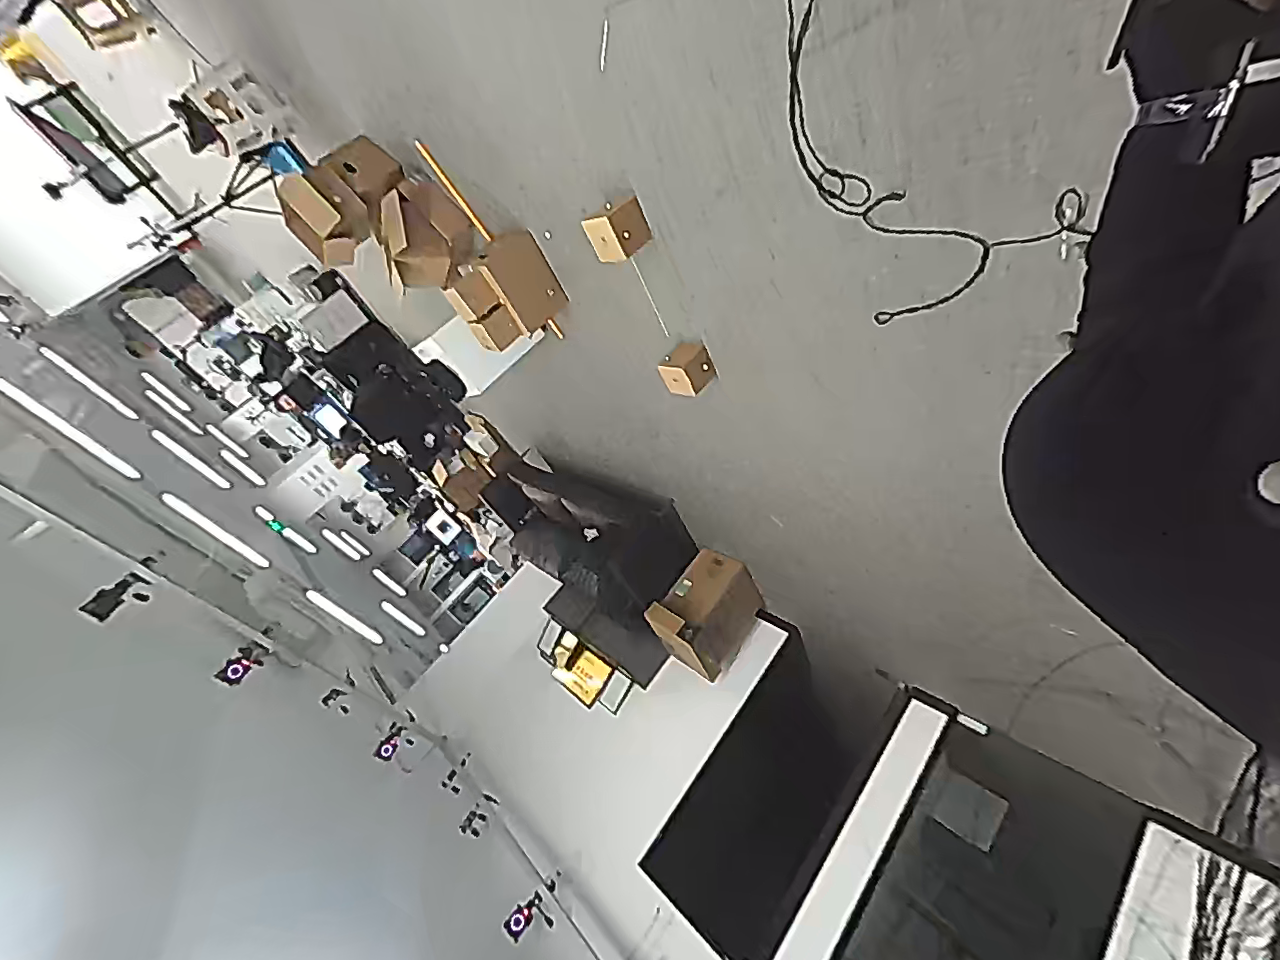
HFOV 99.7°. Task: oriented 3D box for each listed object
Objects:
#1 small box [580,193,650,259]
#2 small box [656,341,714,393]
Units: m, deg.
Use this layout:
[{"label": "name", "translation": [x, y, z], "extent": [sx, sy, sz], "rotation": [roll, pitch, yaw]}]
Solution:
[{"label": "small box", "translation": [-0.095, -0.988, 2.099], "extent": [0.168, 0.176, 0.179], "rotation": [18, 151, 45]}, {"label": "small box", "translation": [0.211, -0.529, 2.506], "extent": [0.179, 0.176, 0.168], "rotation": [19, 151, 46]}]
